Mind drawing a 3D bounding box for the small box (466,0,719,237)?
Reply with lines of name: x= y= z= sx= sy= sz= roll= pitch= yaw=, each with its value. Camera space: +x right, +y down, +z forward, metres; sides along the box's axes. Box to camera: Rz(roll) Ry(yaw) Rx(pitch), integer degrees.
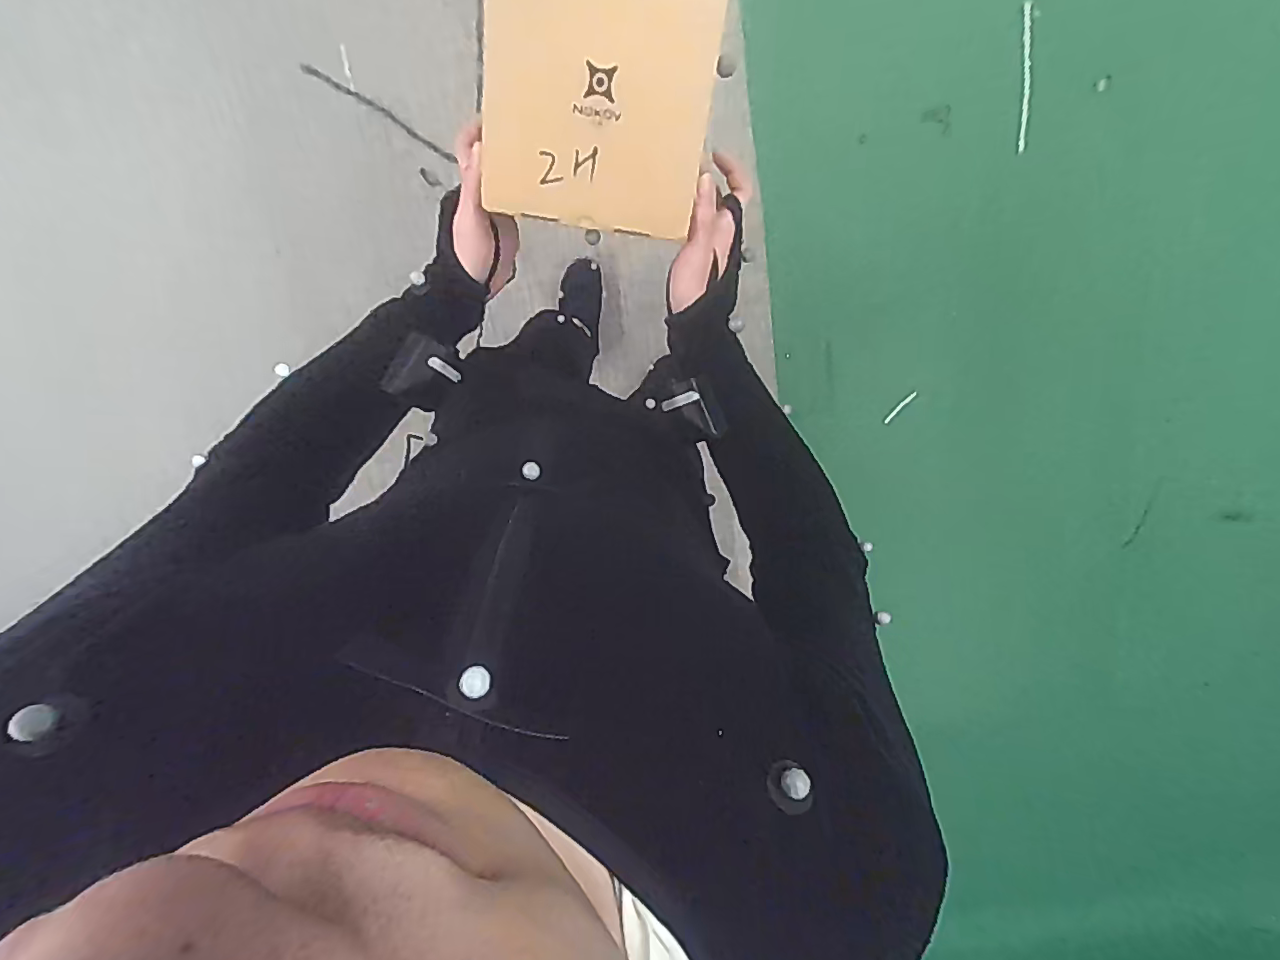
small box: x=-0.039 y=-0.311 z=0.453 sx=0.168 sy=0.176 sz=0.179 roll=8 pitch=115 yaw=-4
